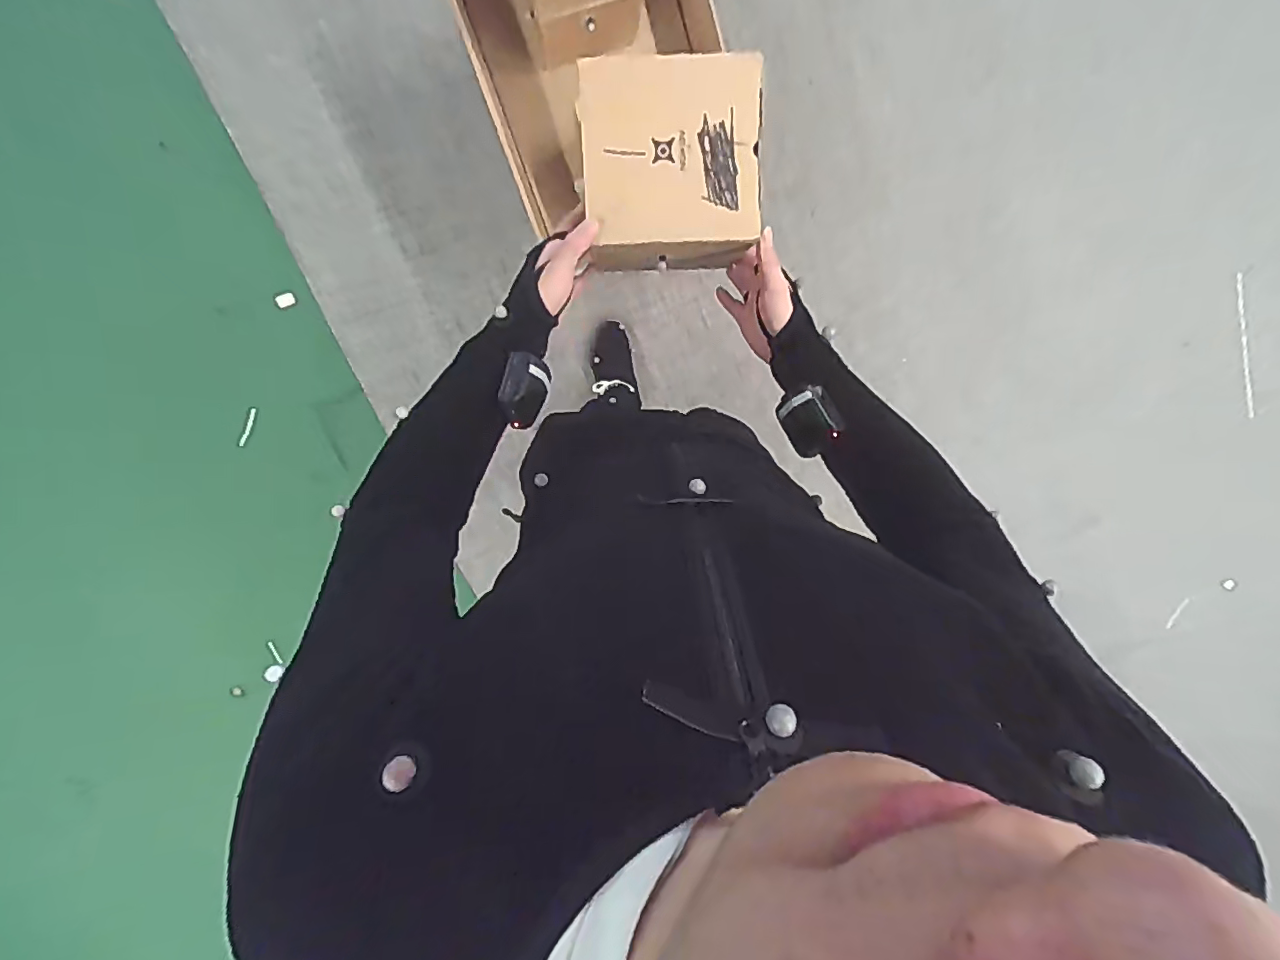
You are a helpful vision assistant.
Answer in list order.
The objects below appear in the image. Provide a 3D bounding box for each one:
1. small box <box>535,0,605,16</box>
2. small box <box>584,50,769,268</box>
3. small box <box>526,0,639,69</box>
[{"bbox_3d":[-0.088,-0.783,0.732,0.179,0.176,0.168,-18,107,0],"label":"small box"},{"bbox_3d":[0.033,-0.335,0.596,0.179,0.176,0.168,-2,102,-1],"label":"small box"},{"bbox_3d":[-0.105,-0.822,0.891,0.179,0.176,0.168,-17,106,-2],"label":"small box"}]
